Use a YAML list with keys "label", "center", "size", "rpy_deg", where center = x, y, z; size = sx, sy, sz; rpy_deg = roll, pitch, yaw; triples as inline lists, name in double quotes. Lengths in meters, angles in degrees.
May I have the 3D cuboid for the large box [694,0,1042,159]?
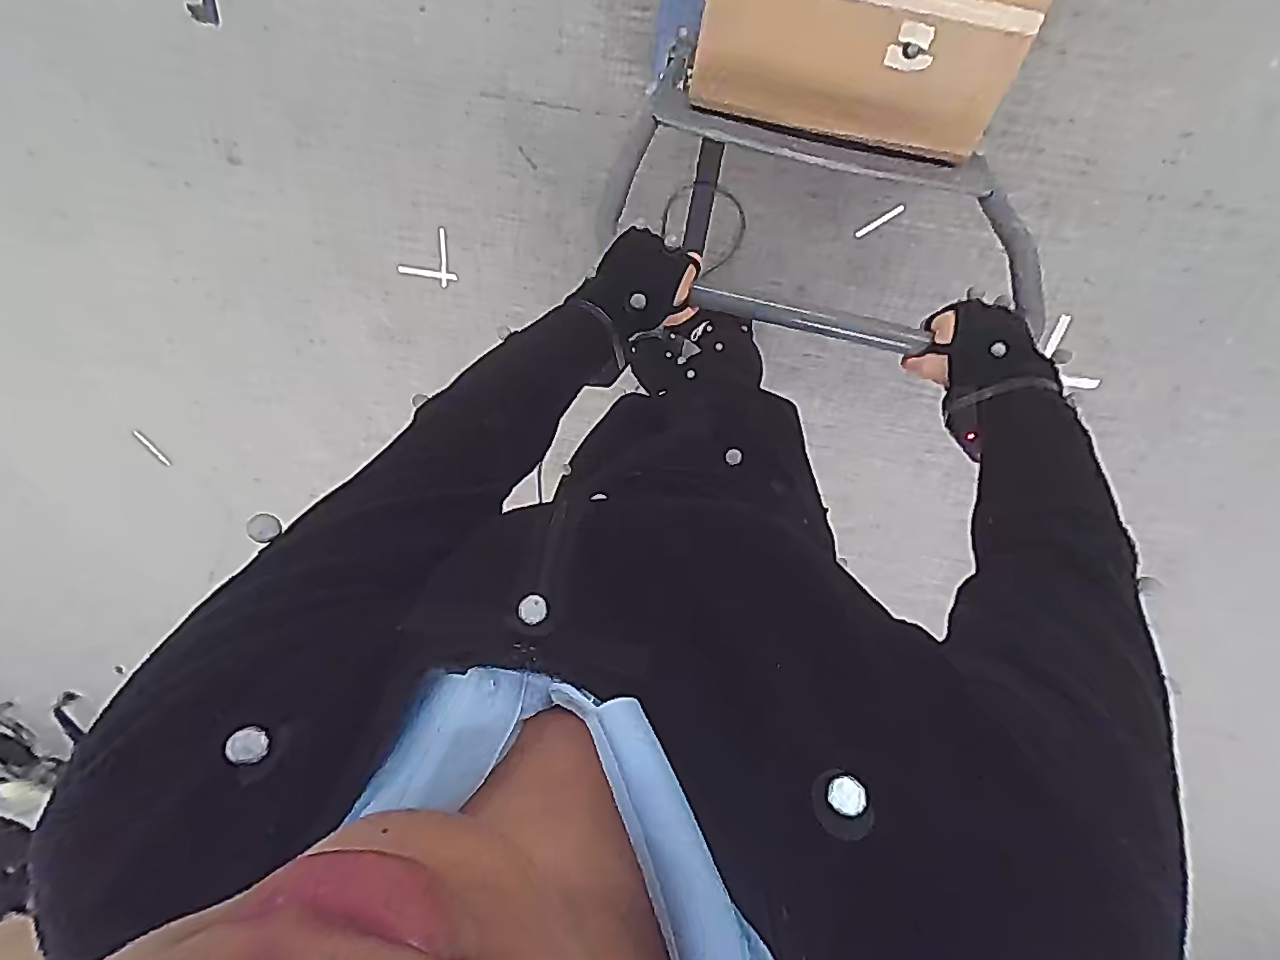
- label: "large box"
  center: [0.309, -0.704, 0.777]
  size: [0.408, 0.320, 0.320]
  rpy_deg: [12, 136, 1]
